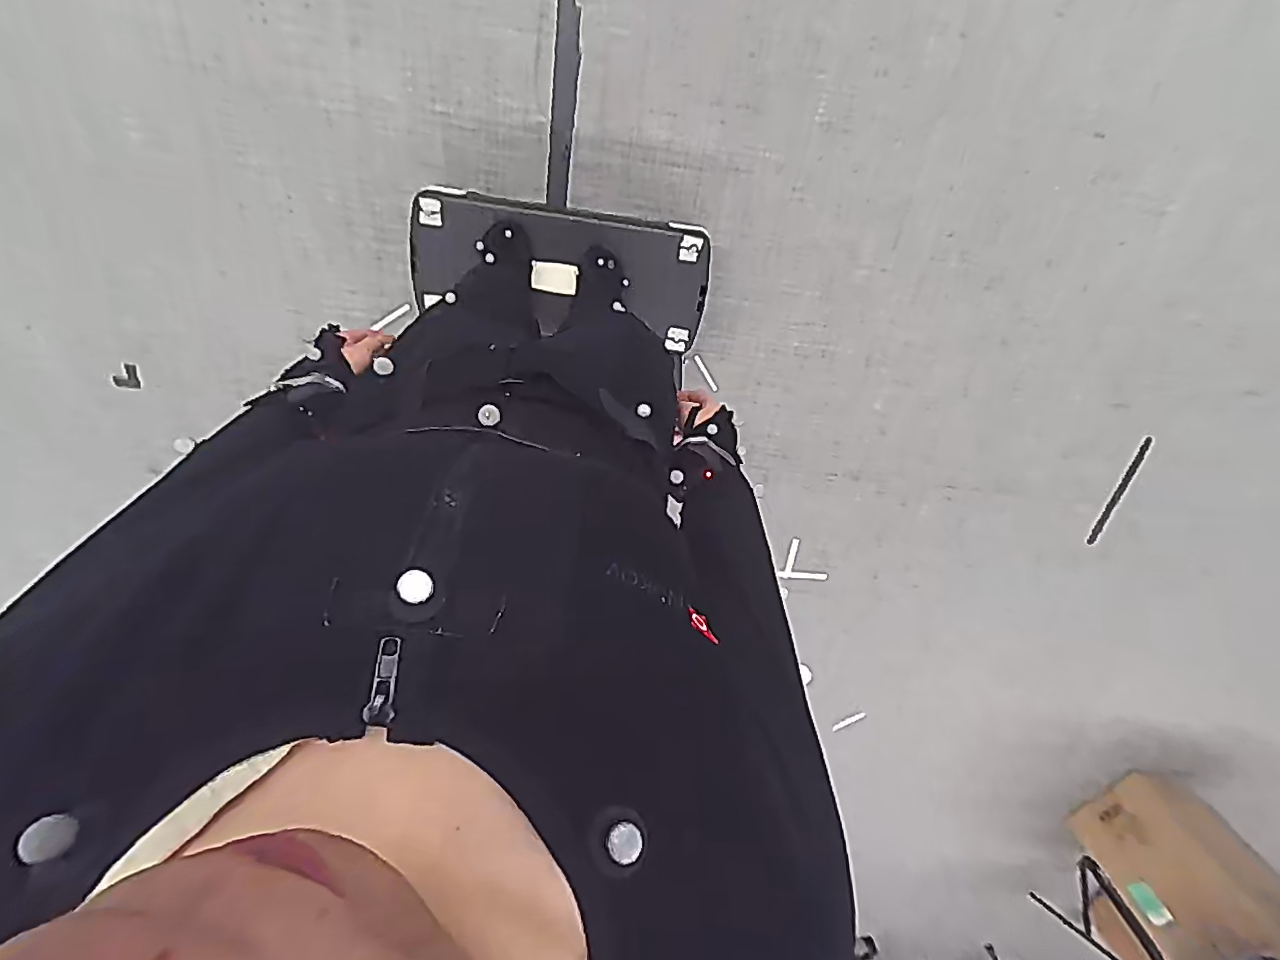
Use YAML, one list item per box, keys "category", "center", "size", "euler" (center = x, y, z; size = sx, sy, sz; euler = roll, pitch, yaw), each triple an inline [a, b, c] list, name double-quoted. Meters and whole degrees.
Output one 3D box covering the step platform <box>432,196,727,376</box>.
- category: "step platform"
  center: [-0.139, -0.461, 1.310]
  size: [0.684, 0.204, 0.286]
  euler: [10, 115, -7]
